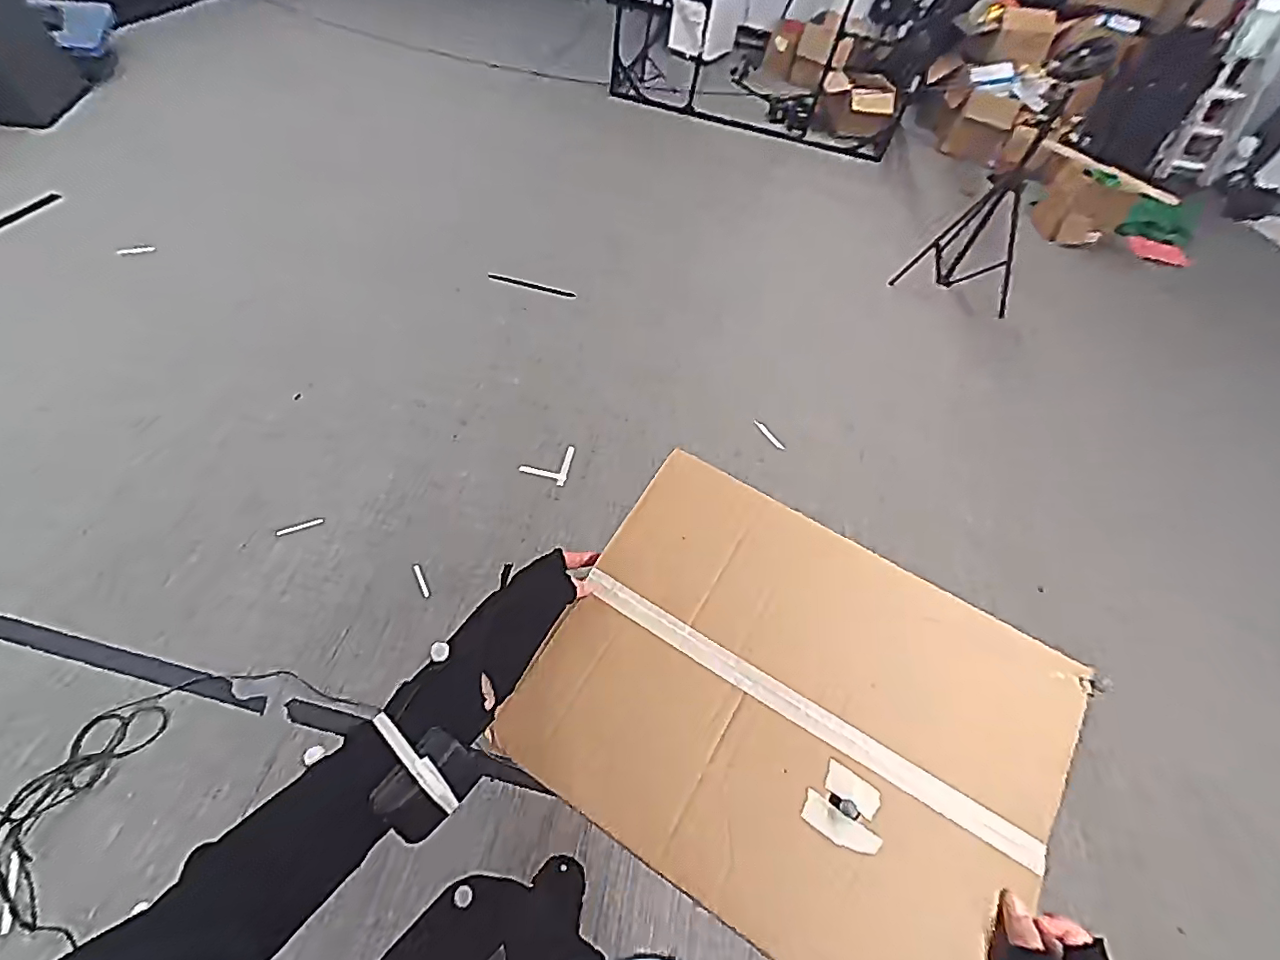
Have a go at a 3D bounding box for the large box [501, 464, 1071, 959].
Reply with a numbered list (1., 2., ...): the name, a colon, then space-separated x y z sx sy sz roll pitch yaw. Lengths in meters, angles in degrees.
1. large box: 0.128 0.251 0.595 0.408 0.320 0.320 30 70 13
